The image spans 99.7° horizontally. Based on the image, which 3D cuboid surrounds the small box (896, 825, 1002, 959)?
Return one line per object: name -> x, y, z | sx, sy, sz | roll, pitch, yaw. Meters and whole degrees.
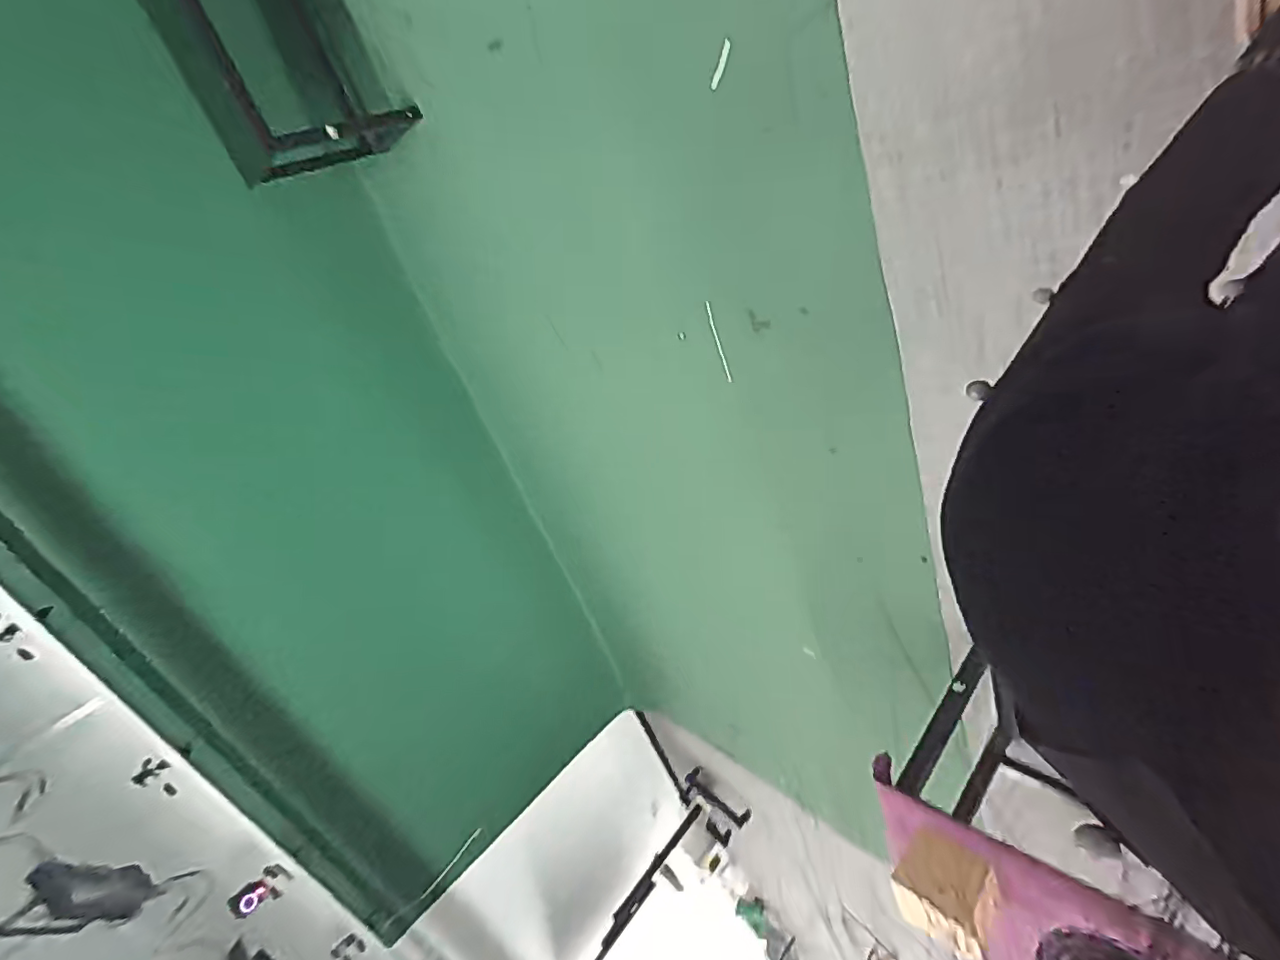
small box -> 0.763, 1.000, 1.326 | 0.179, 0.176, 0.168 | 8, 127, 51
